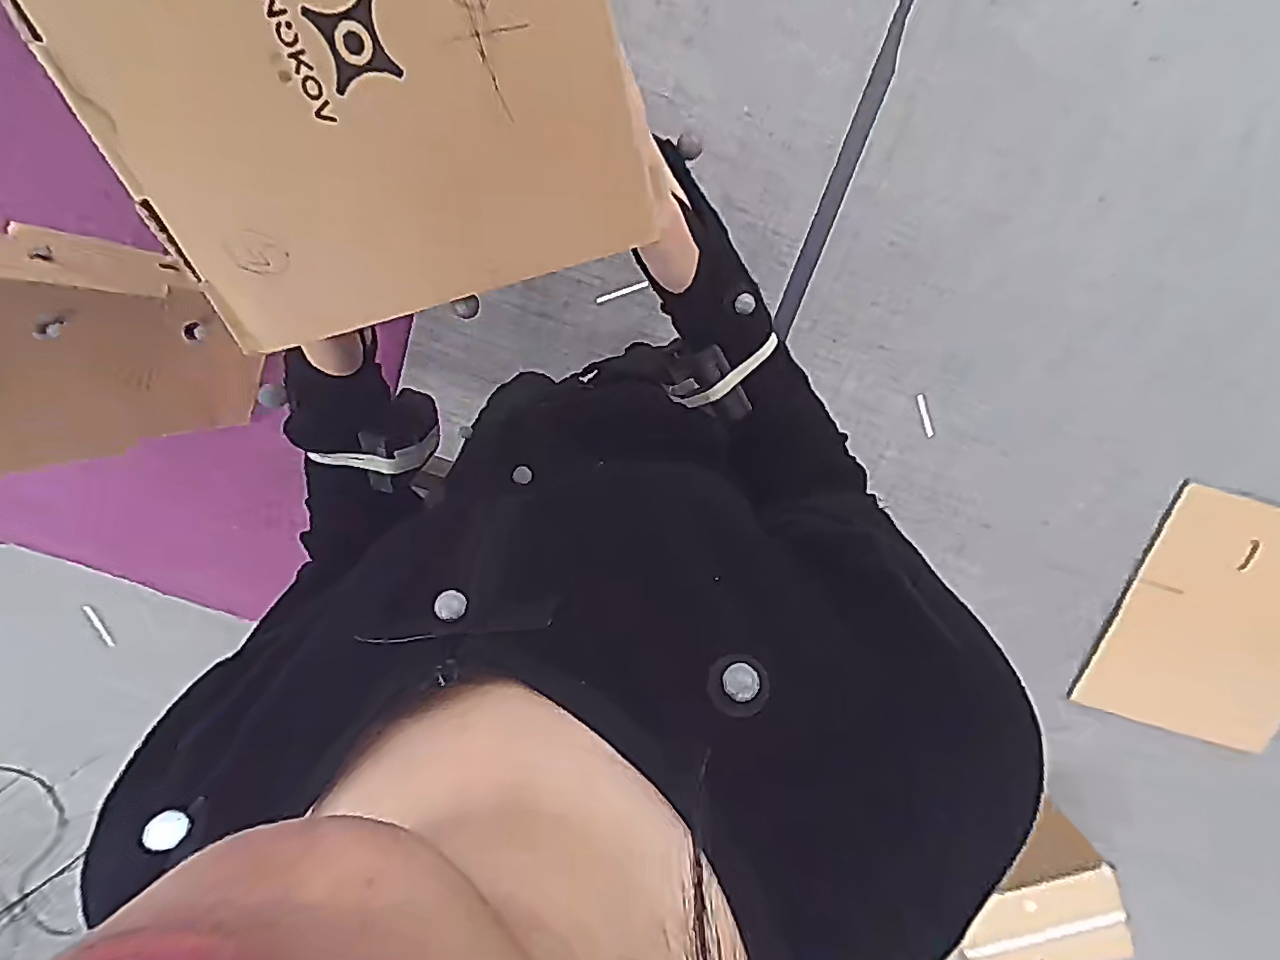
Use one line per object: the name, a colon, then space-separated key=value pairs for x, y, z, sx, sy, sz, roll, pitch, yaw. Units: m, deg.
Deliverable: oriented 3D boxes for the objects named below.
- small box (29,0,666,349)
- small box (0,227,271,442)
small box: x=-0.099 y=-0.180 z=0.242 sx=0.179 sy=0.176 sz=0.168 roll=-16 pitch=122 yaw=1
small box: x=-0.577 y=-0.165 z=0.642 sx=0.168 sy=0.176 sz=0.179 roll=22 pitch=103 yaw=-2
